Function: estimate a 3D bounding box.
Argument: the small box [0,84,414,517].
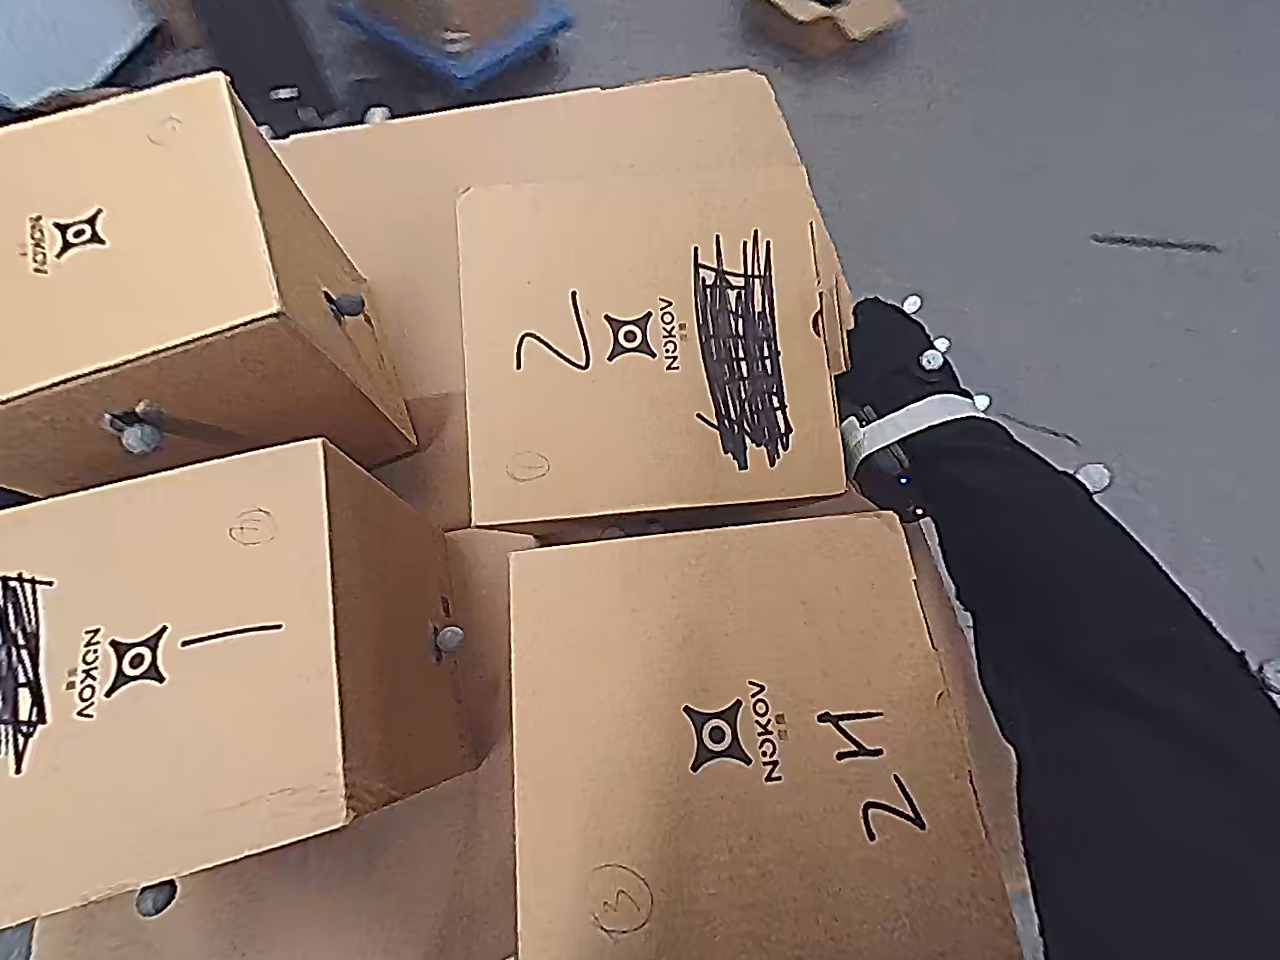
[{"bbox_3d":[-0.266,-0.094,0.345,0.179,0.176,0.168,-21,72,-6],"label":"small box"}]
